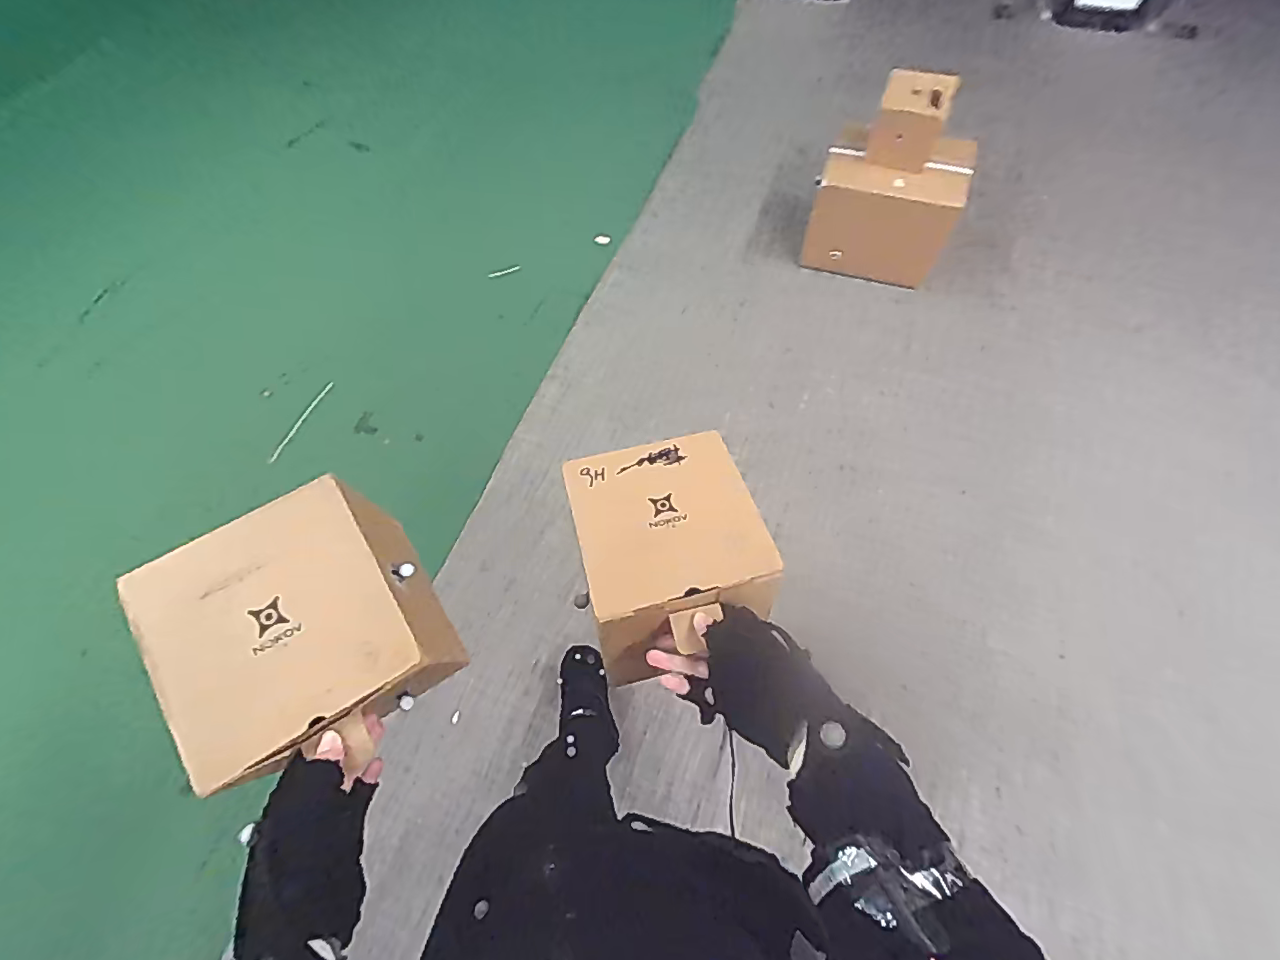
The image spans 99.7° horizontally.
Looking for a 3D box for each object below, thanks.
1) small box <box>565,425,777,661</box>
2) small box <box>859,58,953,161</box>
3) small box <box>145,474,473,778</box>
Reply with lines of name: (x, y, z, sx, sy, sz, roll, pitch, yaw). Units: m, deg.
small box: (0.025, 0.074, 0.565, 0.168, 0.176, 0.179, -12, 54, -6)
small box: (0.741, -1.035, 1.521, 0.179, 0.176, 0.168, 16, 73, 11)
small box: (-0.275, 0.127, 0.492, 0.168, 0.176, 0.179, -31, 76, -13)
